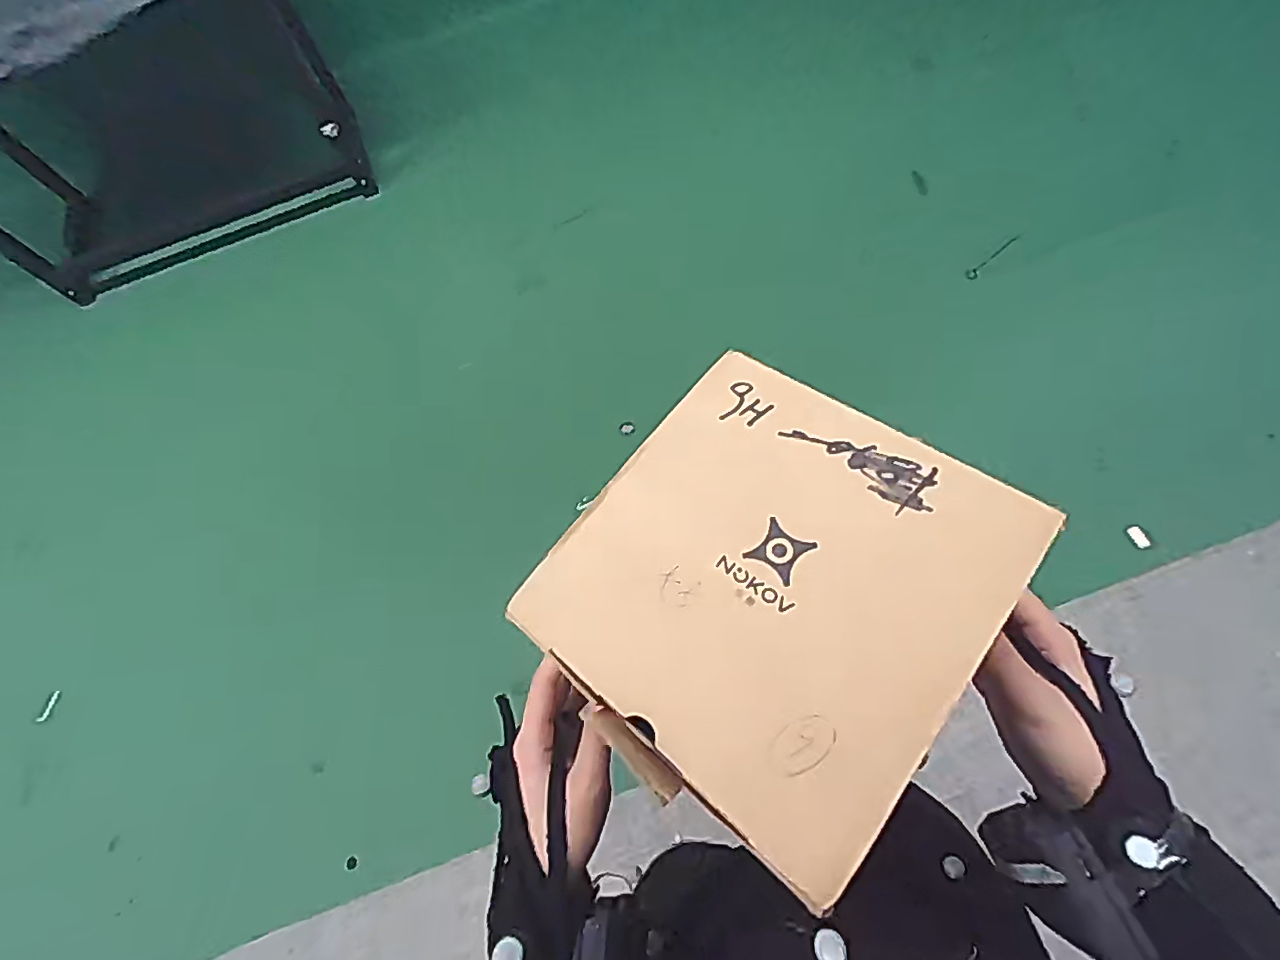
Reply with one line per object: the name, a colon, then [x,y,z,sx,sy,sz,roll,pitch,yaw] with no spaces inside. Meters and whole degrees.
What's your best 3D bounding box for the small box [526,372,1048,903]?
small box: [0.074,0.080,0.309,0.168,0.176,0.179,34,75,25]
